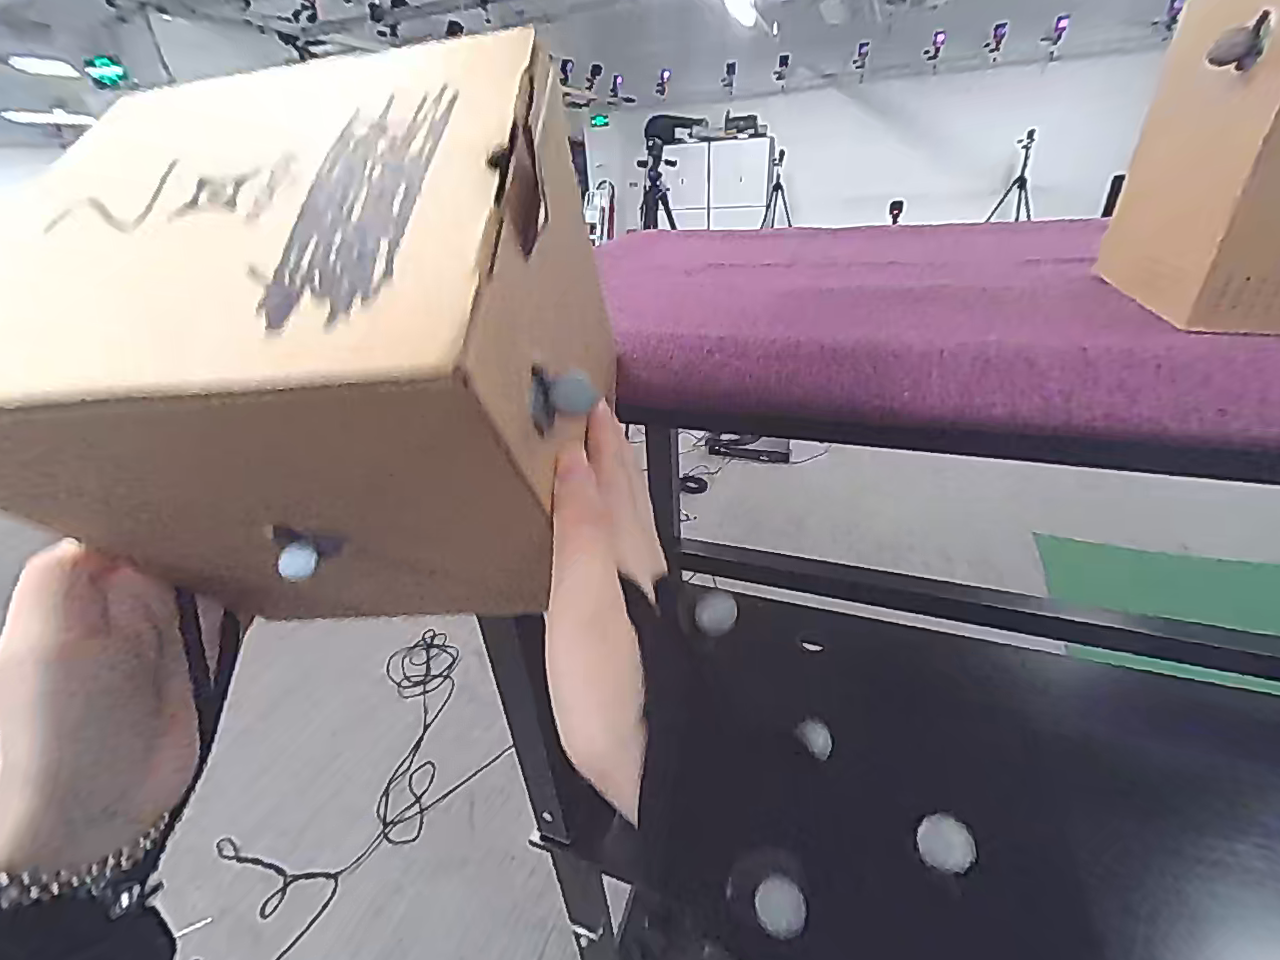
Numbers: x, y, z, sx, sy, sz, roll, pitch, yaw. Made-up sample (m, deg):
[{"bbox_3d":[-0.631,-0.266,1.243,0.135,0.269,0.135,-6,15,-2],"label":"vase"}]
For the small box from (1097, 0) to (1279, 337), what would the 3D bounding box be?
[{"bbox_3d":[0.385,-0.169,0.282,0.168,0.176,0.179,10,32,21],"label":"small box"}]
